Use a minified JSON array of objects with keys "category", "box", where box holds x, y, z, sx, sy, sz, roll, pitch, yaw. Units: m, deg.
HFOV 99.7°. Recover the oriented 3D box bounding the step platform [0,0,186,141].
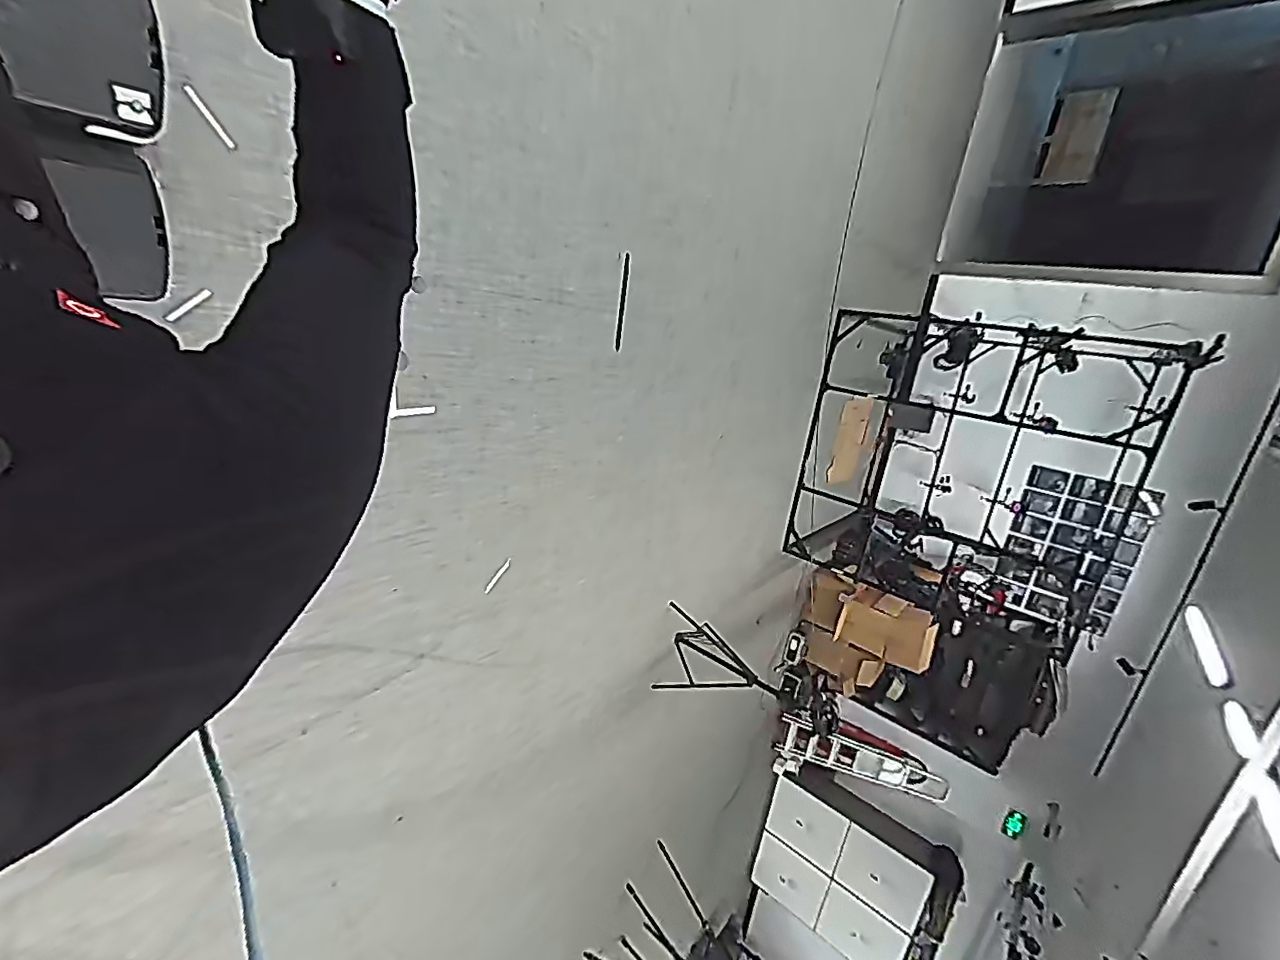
[{"category":"step platform","box":[-1.098,-0.738,0.774,0.684,0.204,0.286,-16,119,-49]}]
